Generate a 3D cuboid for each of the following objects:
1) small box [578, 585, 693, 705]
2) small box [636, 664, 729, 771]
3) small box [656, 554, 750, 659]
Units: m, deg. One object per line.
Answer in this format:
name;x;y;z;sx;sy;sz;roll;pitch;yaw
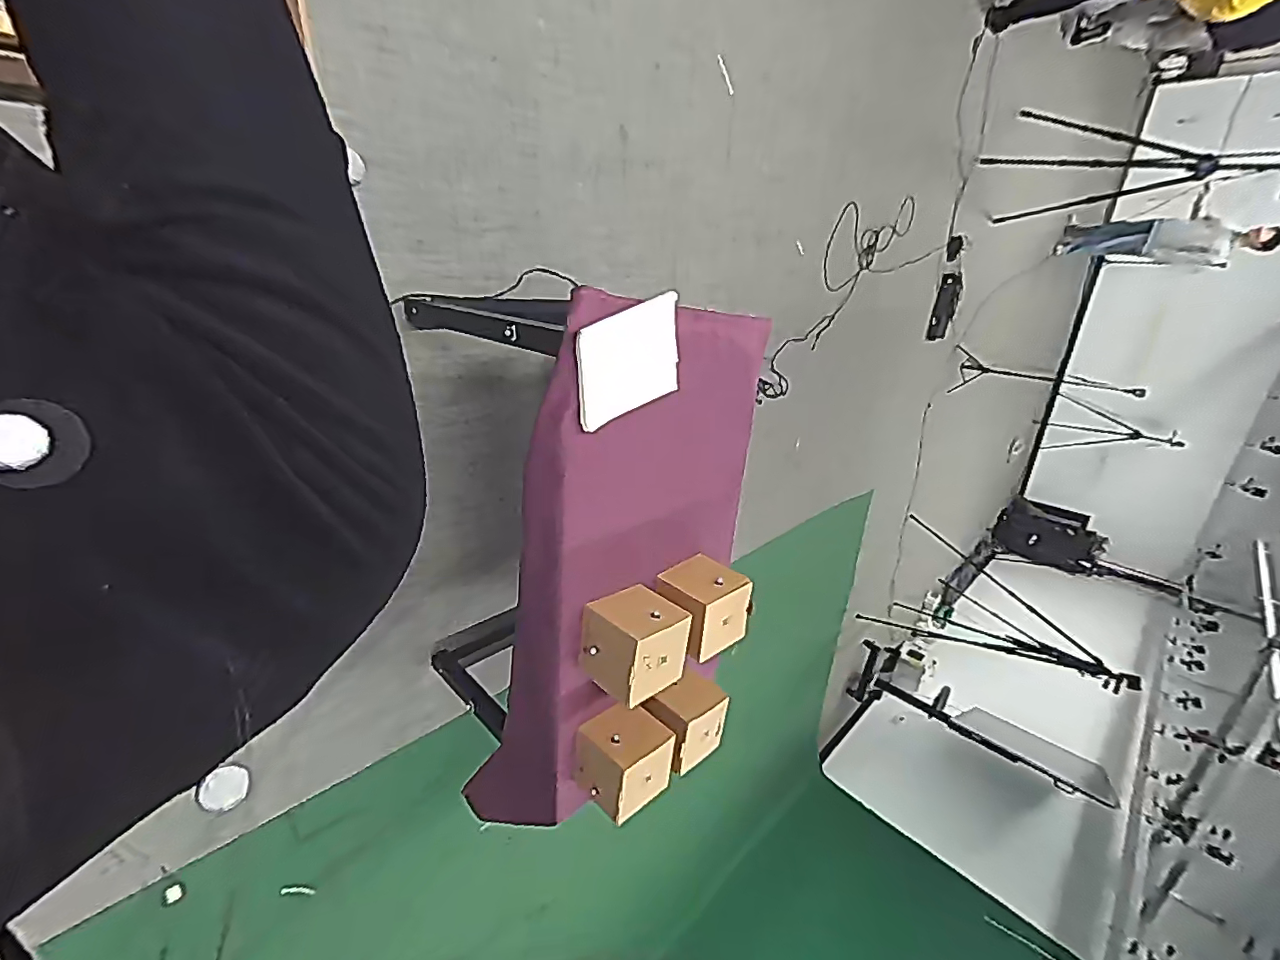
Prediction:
small box;-0.011;0.352;1.197;0.179;0.176;0.168;-10;114;-45
small box;0.111;0.630;1.457;0.179;0.176;0.168;-7;113;-45
small box;0.149;0.308;1.354;0.179;0.176;0.168;-17;119;-42
